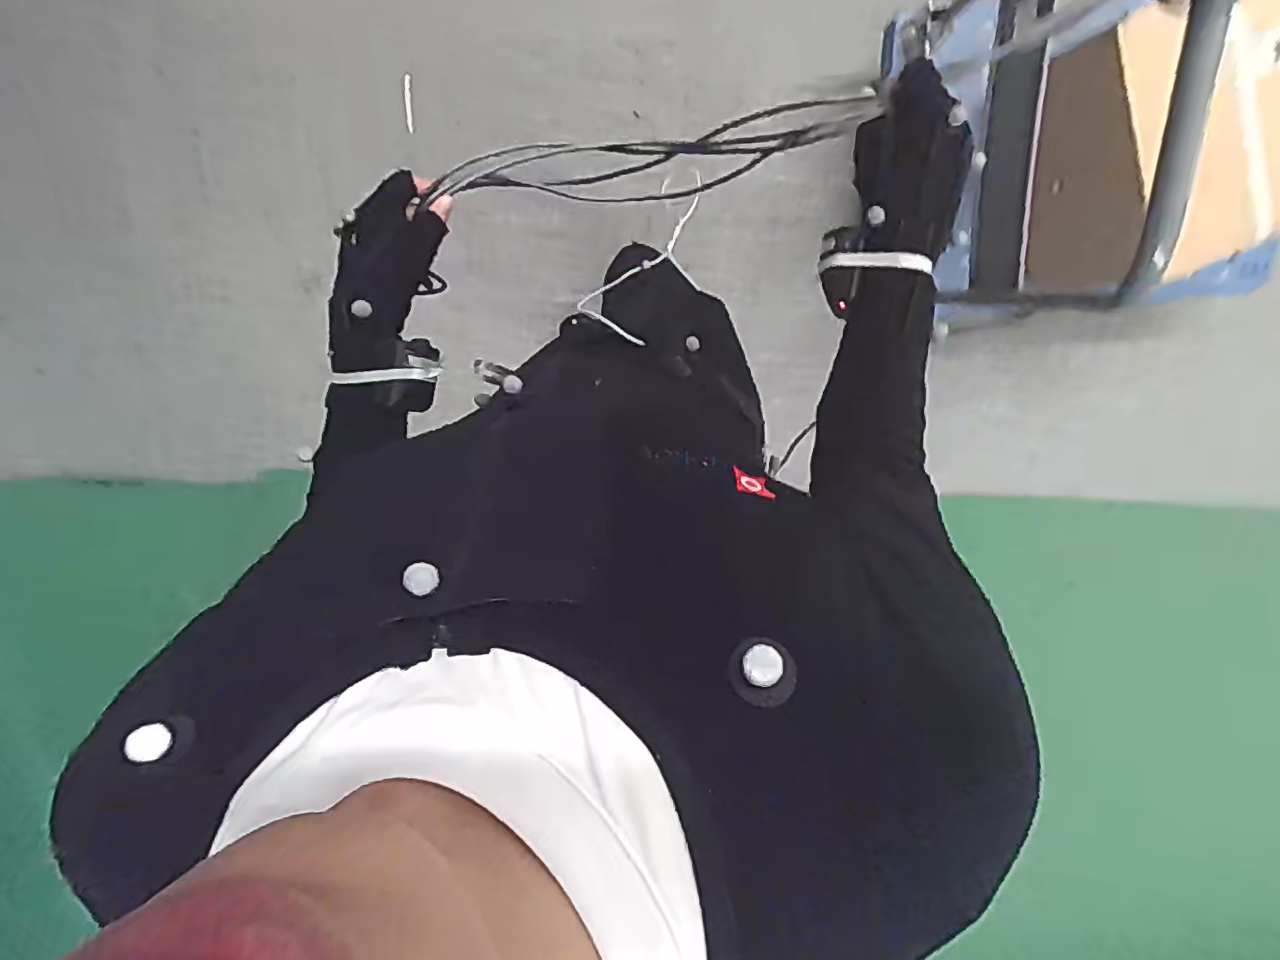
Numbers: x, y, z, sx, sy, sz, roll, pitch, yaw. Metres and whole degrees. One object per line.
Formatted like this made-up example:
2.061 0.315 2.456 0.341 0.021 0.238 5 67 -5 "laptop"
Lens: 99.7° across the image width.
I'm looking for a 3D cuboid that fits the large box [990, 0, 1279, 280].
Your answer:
0.917 -0.622 0.975 0.320 0.320 0.408 -25 107 7 "large box"
